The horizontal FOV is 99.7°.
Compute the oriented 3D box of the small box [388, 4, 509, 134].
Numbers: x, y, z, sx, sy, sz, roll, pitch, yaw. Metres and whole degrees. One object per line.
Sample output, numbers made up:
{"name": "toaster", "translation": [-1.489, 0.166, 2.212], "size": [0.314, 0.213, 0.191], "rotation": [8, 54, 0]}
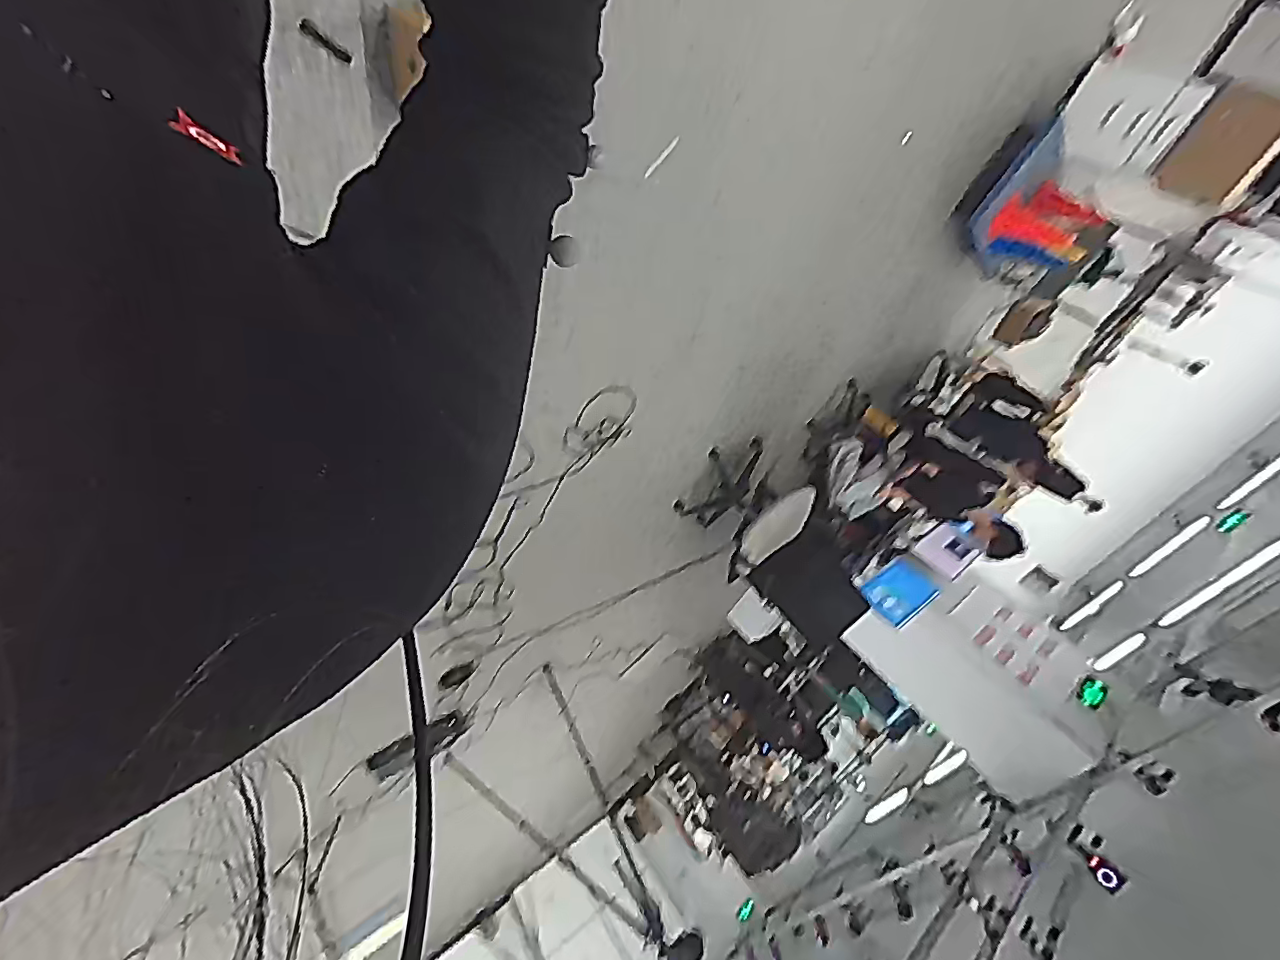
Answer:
{"name": "small box", "translation": [-0.369, -0.796, 1.051], "size": [0.168, 0.176, 0.179], "rotation": [-24, 144, -32]}
